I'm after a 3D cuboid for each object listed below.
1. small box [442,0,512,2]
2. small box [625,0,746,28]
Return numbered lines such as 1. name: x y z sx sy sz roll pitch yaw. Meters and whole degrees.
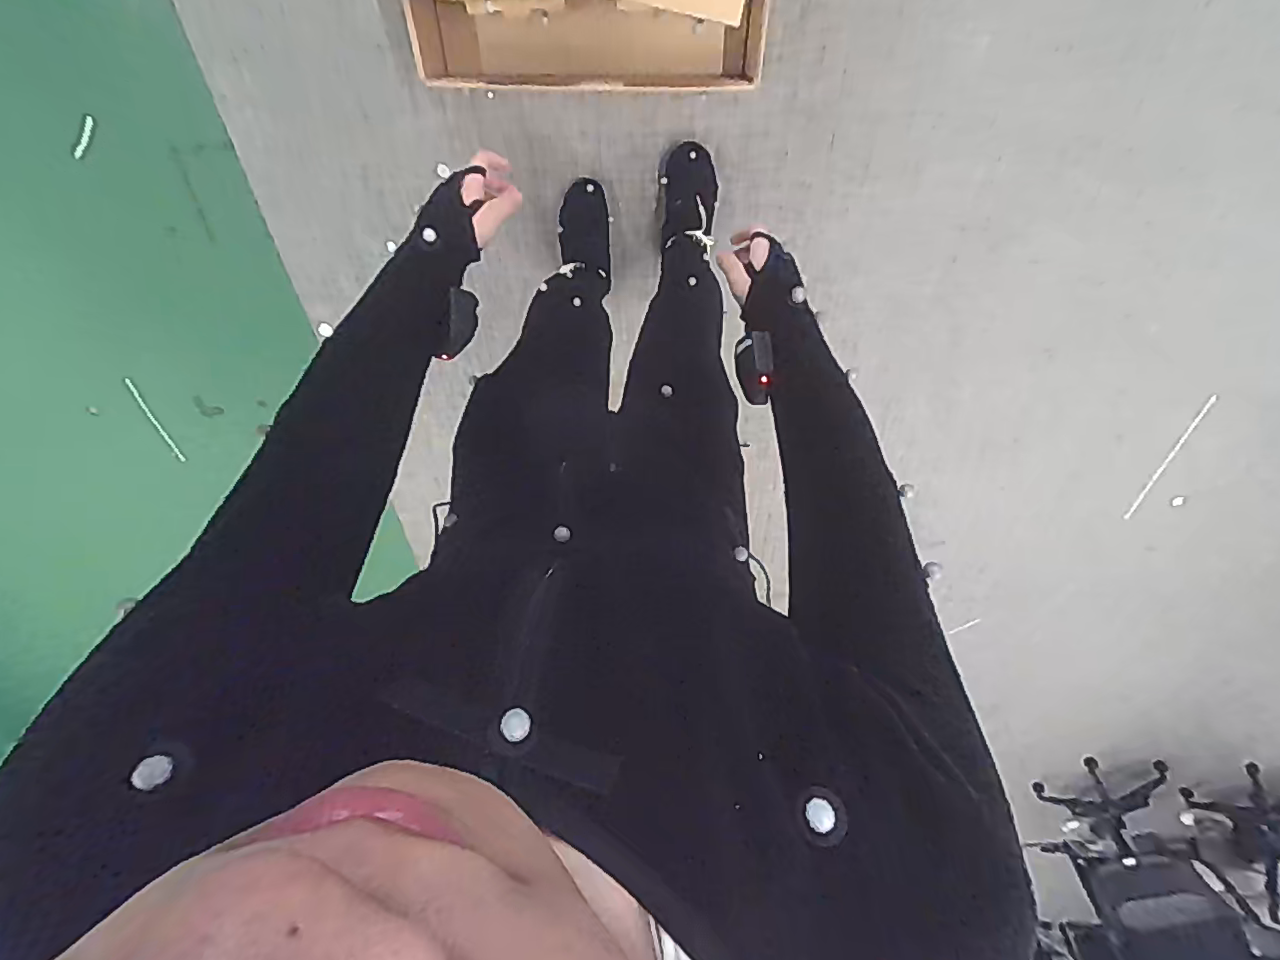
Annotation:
1. small box: -0.208 -0.794 0.763 0.168 0.176 0.179 -2 129 2
2. small box: 0.051 -0.662 0.639 0.179 0.176 0.168 10 130 -4
